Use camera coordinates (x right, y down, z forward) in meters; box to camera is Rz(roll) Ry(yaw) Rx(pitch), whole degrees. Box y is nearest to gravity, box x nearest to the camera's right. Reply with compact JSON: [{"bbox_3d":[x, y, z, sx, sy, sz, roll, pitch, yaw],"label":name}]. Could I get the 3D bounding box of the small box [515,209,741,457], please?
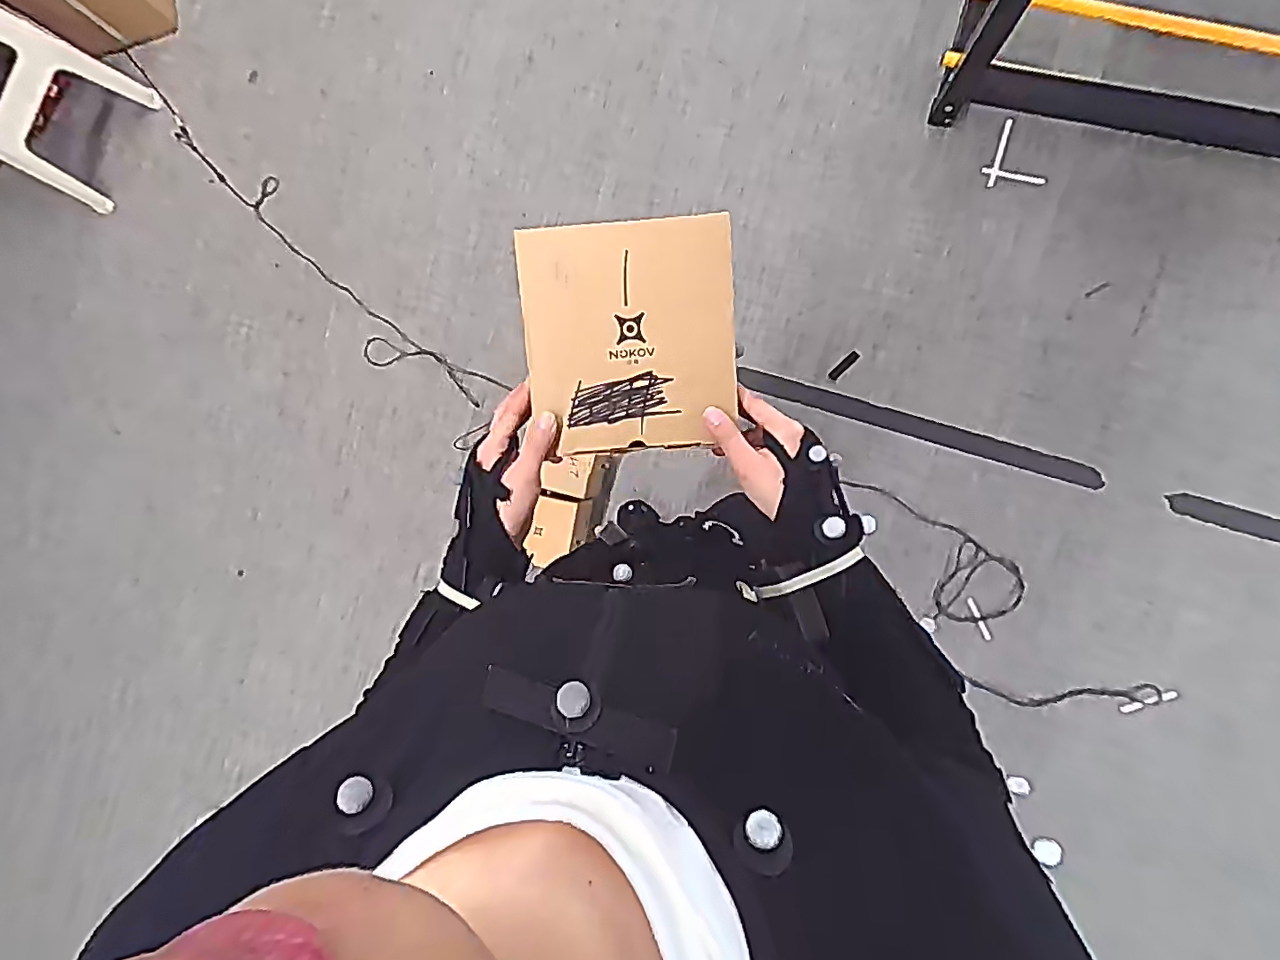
[{"bbox_3d":[-0.005,-0.122,0.487,0.168,0.176,0.179,-4,100,1],"label":"small box"}]
